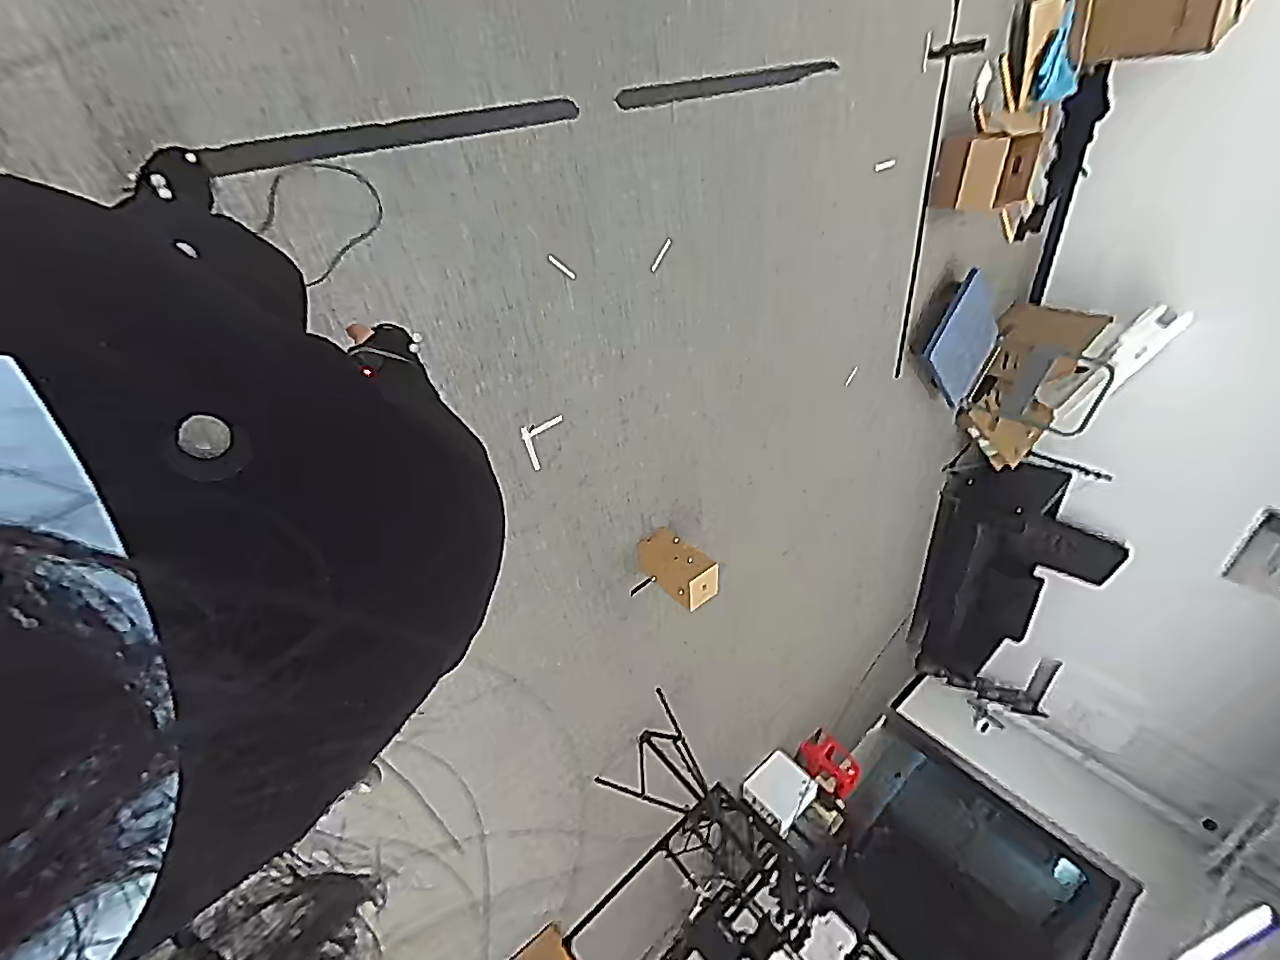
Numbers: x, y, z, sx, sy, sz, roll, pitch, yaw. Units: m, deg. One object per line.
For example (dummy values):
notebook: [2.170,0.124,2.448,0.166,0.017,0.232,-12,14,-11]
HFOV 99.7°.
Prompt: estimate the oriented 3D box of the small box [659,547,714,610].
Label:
small box: [0.195,0.406,2.290,0.168,0.176,0.179,-27,130,-30]
